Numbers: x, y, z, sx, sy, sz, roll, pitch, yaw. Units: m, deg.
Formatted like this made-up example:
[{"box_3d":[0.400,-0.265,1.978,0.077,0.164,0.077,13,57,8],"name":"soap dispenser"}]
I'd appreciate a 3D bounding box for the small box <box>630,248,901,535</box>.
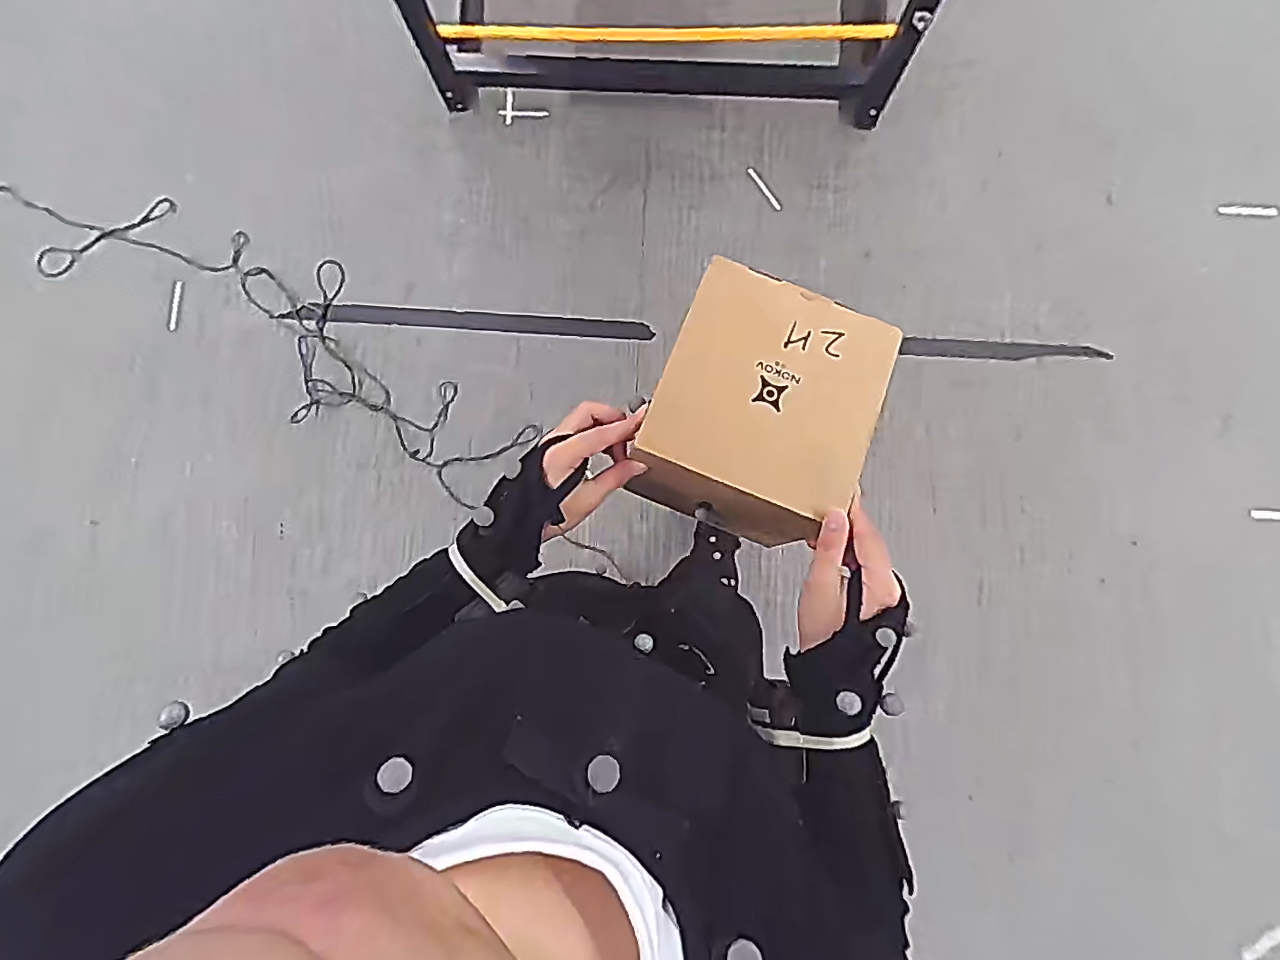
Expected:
[{"box_3d":[0.095,-0.061,0.486,0.168,0.176,0.179,21,77,0],"name":"small box"}]
